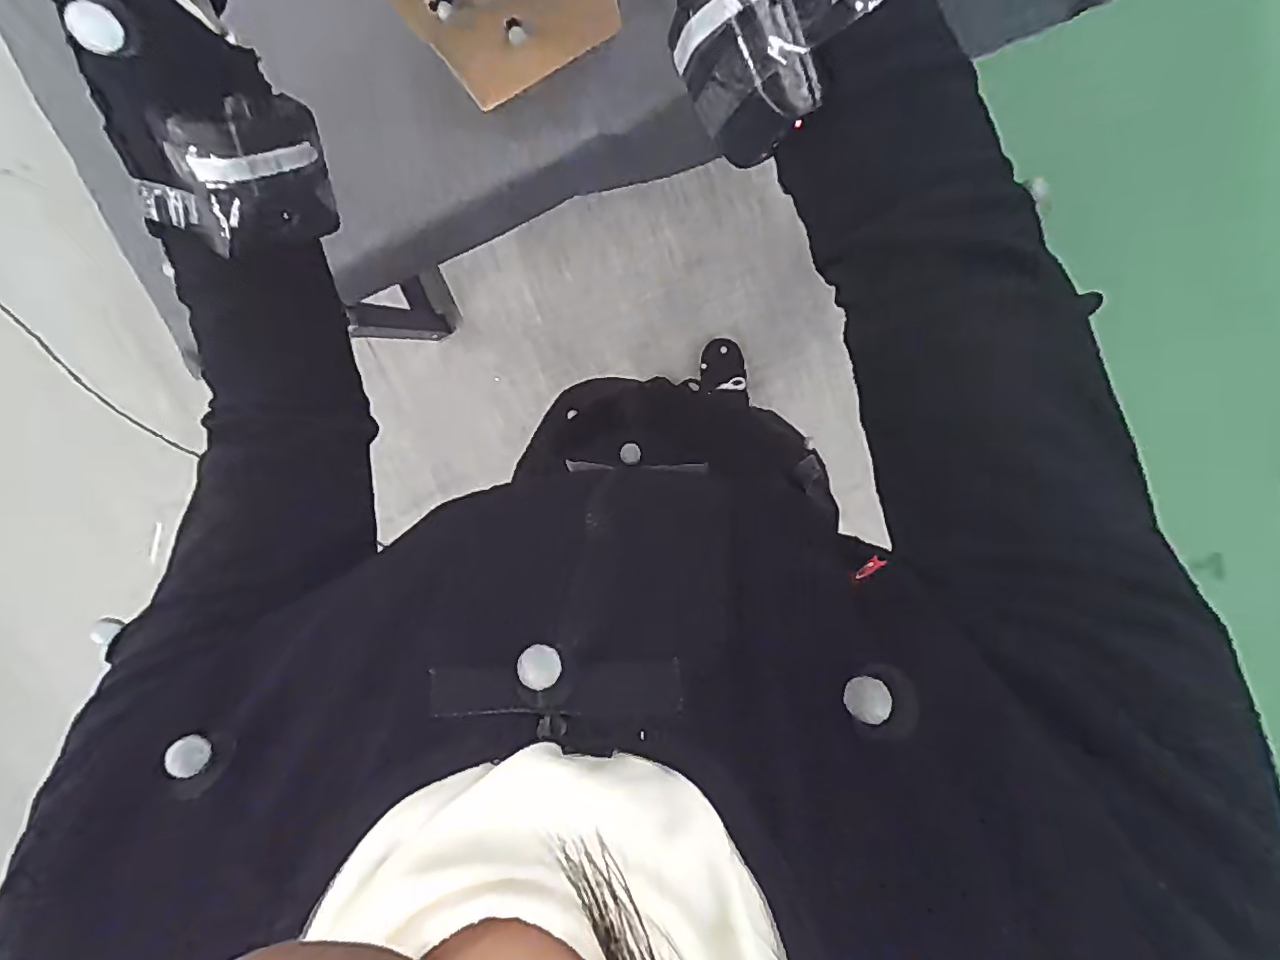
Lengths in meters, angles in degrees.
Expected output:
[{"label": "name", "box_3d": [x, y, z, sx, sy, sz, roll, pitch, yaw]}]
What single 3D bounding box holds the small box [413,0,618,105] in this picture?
[{"label": "small box", "box_3d": [-0.138, -0.508, 0.510, 0.179, 0.176, 0.168, -28, 97, 10]}]
